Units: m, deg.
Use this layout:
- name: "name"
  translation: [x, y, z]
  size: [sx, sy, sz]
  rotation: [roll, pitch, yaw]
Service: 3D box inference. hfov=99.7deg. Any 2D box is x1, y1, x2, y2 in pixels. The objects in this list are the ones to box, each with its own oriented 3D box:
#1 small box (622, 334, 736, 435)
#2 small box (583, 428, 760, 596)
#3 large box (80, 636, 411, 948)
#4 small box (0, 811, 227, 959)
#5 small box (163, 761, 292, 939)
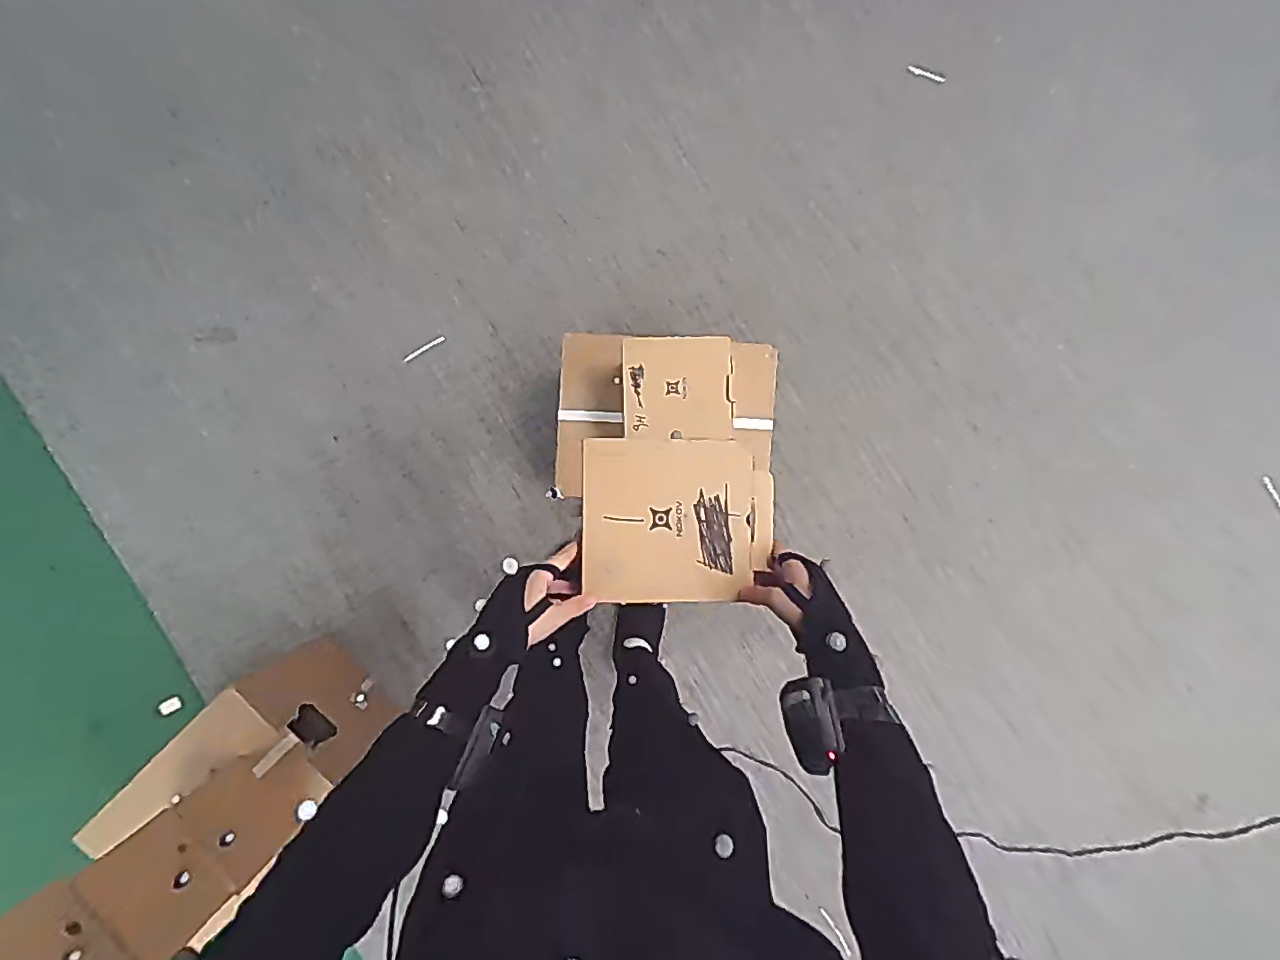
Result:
- name: "small box"
  translation: [0.059, -0.144, 0.925]
  size: [0.179, 0.176, 0.168]
  rotation: [-1, 88, -3]
- name: "small box"
  translation: [0.026, 0.035, 0.618]
  size: [0.179, 0.176, 0.168]
  rotation: [1, 88, -4]
- name: "large box"
  translation: [-0.780, 0.610, 1.137]
  size: [0.408, 0.320, 0.320]
  rotation: [-45, 90, 0]
- name: "small box"
  translation: [-0.726, 0.605, 0.731]
  size: [0.179, 0.176, 0.168]
  rotation: [-38, 91, -3]
- name: "small box"
  translation: [-0.731, 0.614, 0.893]
  size: [0.168, 0.176, 0.179]
  rotation: [-39, 91, -2]
